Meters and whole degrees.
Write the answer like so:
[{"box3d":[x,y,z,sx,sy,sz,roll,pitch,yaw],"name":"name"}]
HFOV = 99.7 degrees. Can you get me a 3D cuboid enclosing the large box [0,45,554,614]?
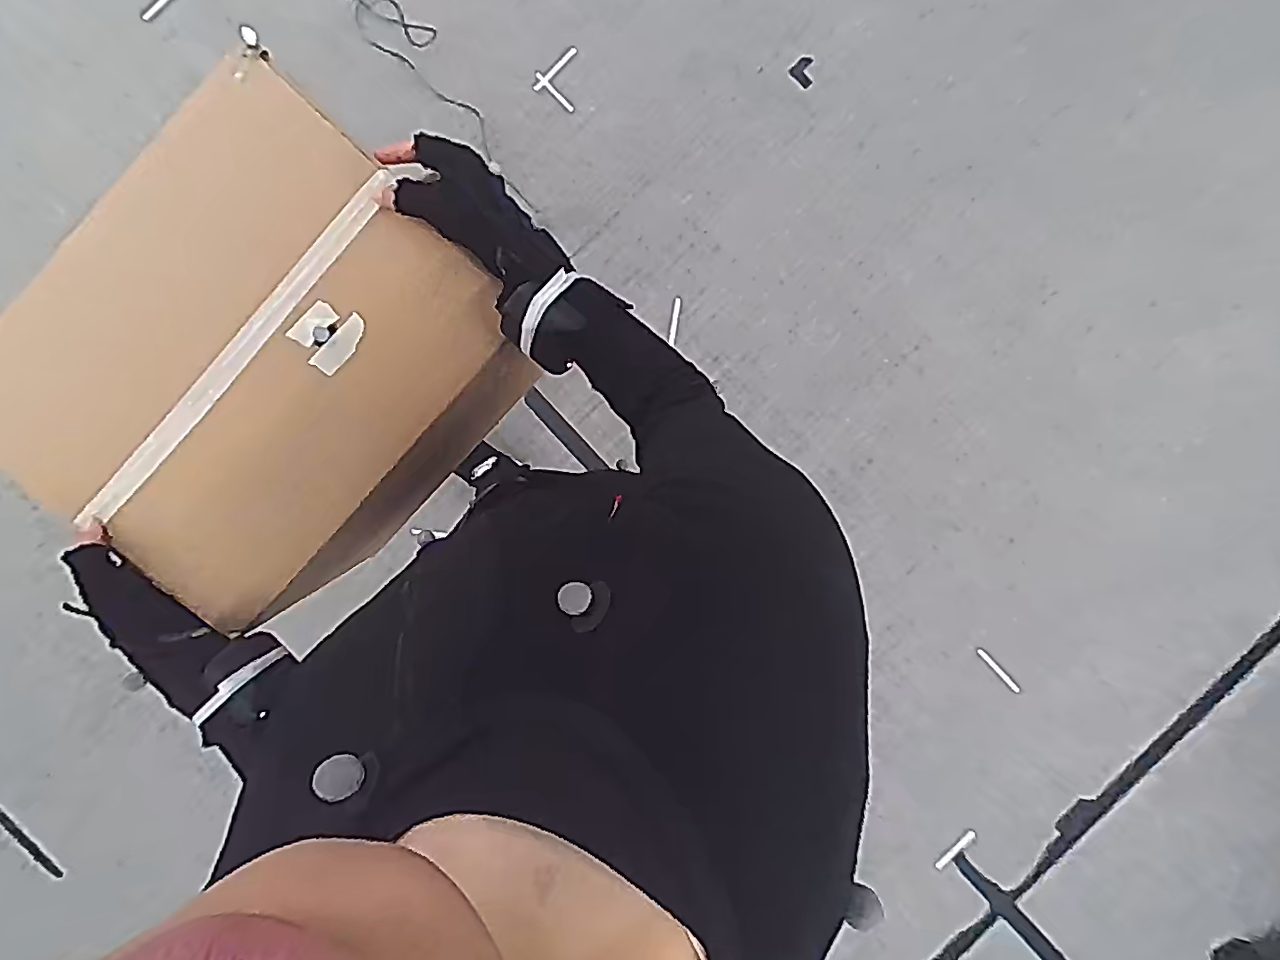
[{"box3d":[-0.353,-0.134,0.623,0.320,0.320,0.408,43,91,-8],"name":"large box"}]
